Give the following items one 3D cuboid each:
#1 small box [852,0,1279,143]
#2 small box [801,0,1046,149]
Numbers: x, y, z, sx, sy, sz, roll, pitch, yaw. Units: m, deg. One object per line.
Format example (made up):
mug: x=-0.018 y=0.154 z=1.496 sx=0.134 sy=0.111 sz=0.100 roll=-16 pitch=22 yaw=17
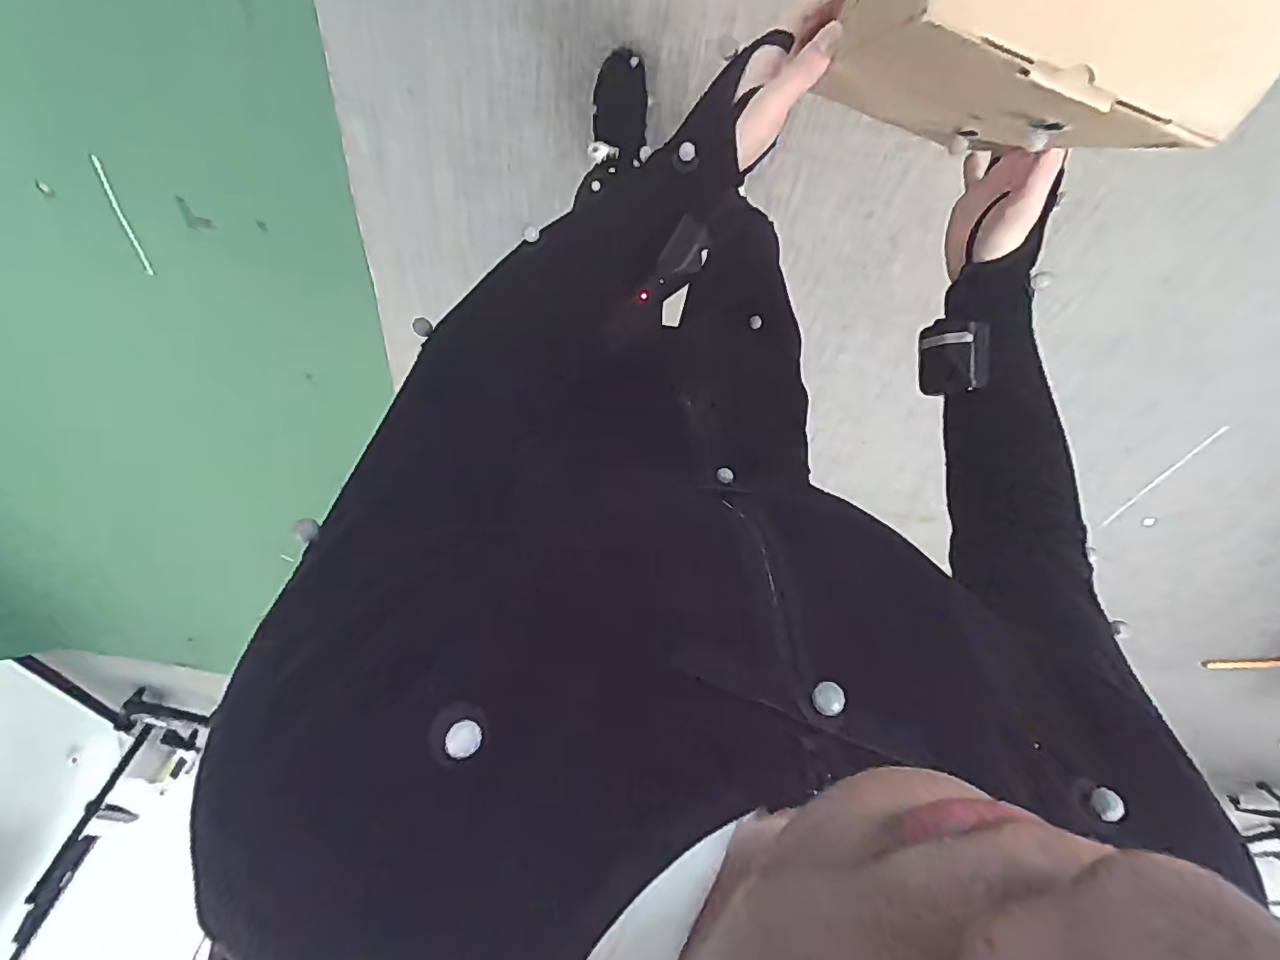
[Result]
small box: x=0.231 y=-0.297 z=0.275 sx=0.168 sy=0.176 sz=0.179 roll=18 pitch=121 yaw=-6
small box: x=0.248 y=-0.379 z=0.417 sx=0.179 sy=0.176 sz=0.168 roll=18 pitch=122 yaw=-5
